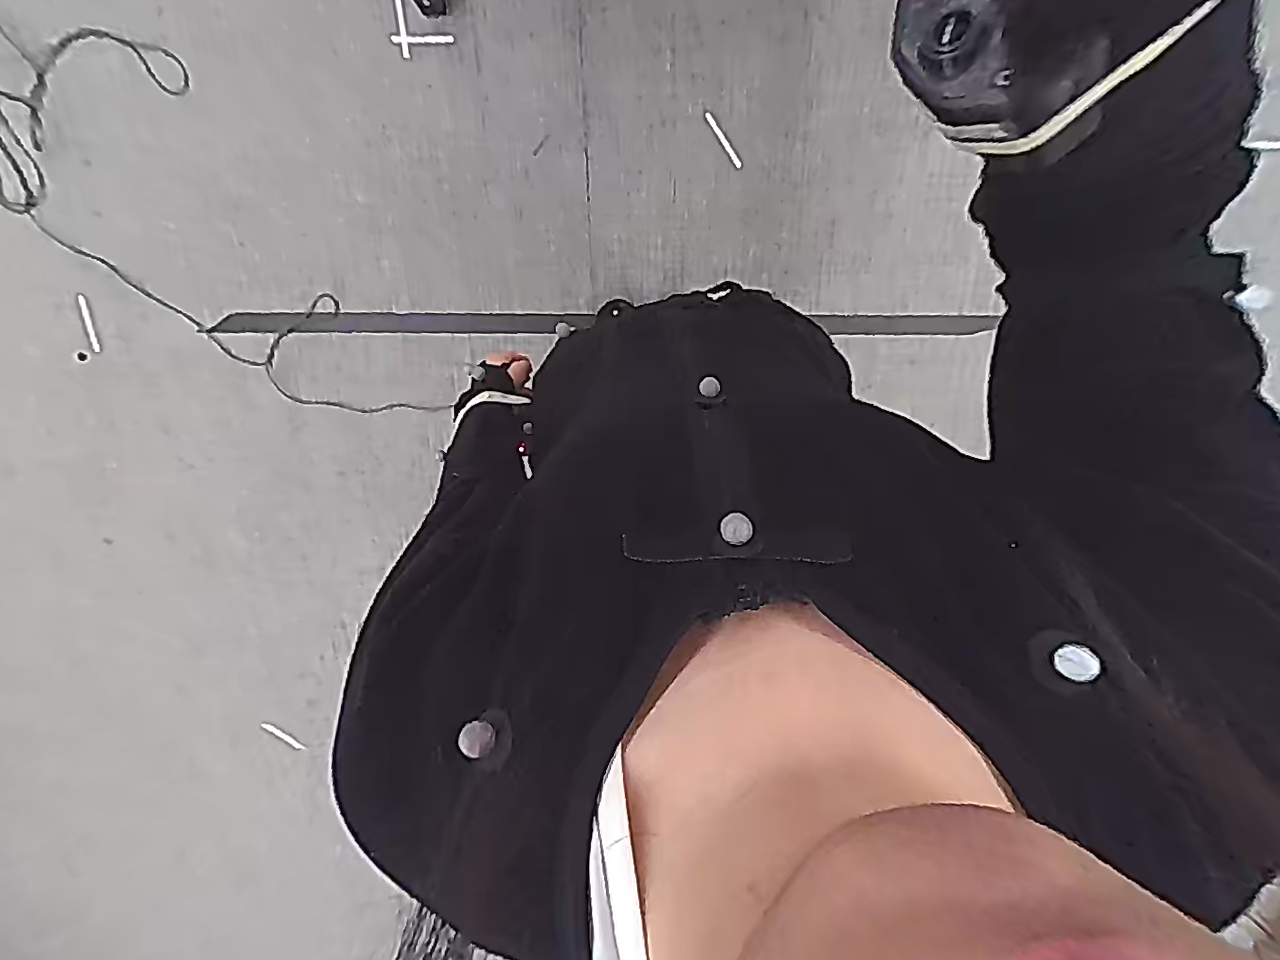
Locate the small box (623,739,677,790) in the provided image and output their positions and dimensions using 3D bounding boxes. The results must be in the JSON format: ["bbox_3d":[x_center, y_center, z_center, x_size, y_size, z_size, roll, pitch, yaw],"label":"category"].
[{"bbox_3d":[0.032,0.967,1.758,0.168,0.176,0.179,-5,108,0],"label":"small box"}]

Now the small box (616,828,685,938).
[{"bbox_3d":[0.029,1.073,1.447,0.168,0.176,0.179,-6,108,1],"label":"small box"}]

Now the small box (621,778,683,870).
[{"bbox_3d":[0.037,1.022,1.603,0.168,0.176,0.179,-6,109,1],"label":"small box"}]
